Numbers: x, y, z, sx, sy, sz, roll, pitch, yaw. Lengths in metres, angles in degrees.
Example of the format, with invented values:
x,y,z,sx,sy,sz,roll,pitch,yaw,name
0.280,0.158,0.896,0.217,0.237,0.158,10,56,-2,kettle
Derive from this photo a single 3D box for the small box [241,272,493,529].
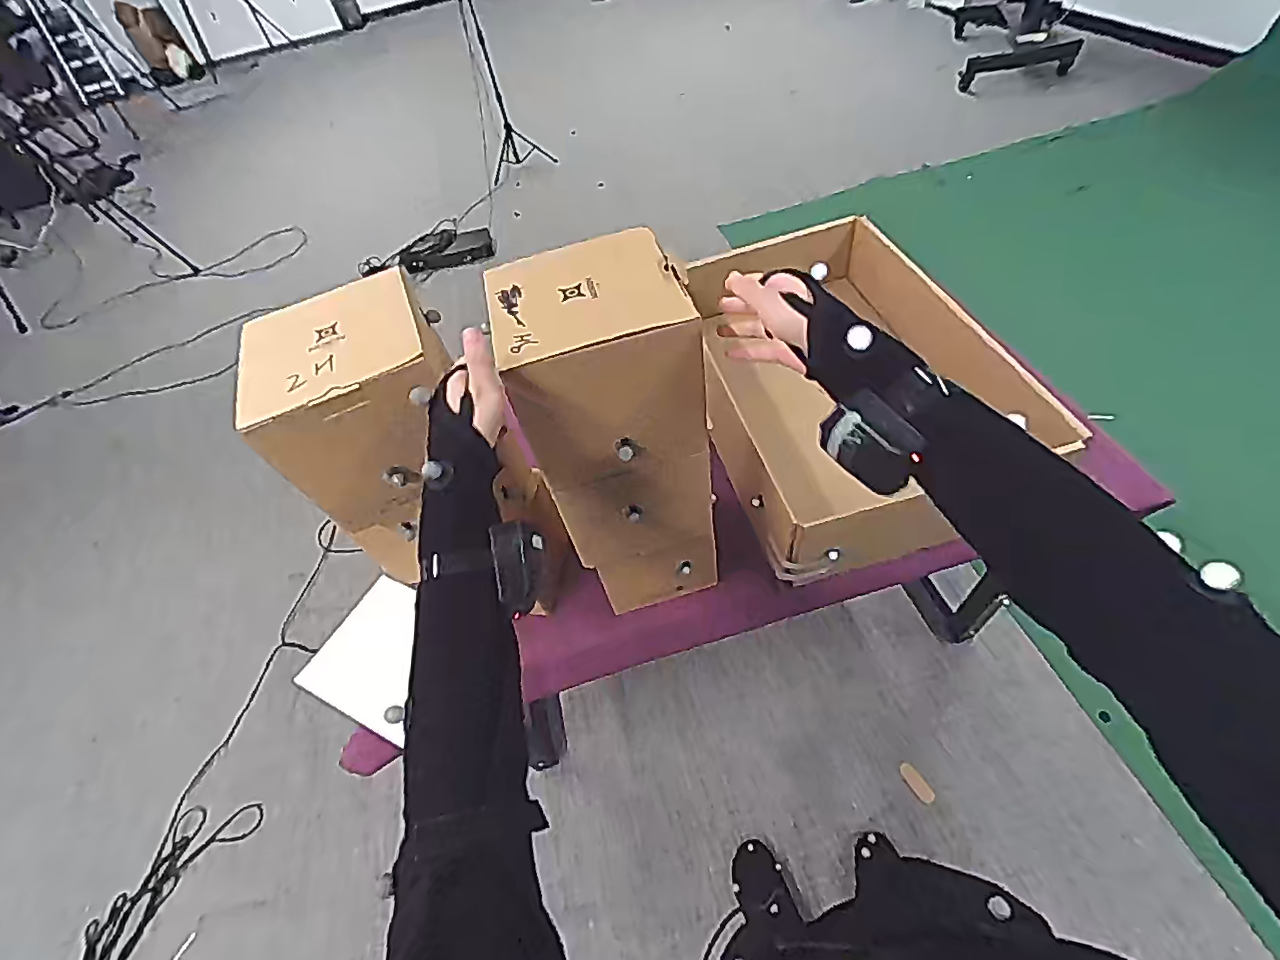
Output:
x,y,z,sx,sy,sz,roll,pitch,yaw,name
-0.276,-0.081,0.572,0.168,0.176,0.179,-24,53,-7,small box

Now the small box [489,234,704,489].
x,y,z,sx,sy,sz,roll,pitch,yaw,name
-0.040,-0.117,0.554,0.179,0.176,0.168,-15,50,-3,small box

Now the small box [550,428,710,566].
x,y,z,sx,sy,sz,roll,pitch,yaw,name
-0.016,-0.016,0.682,0.179,0.176,0.168,-16,51,-2,small box
